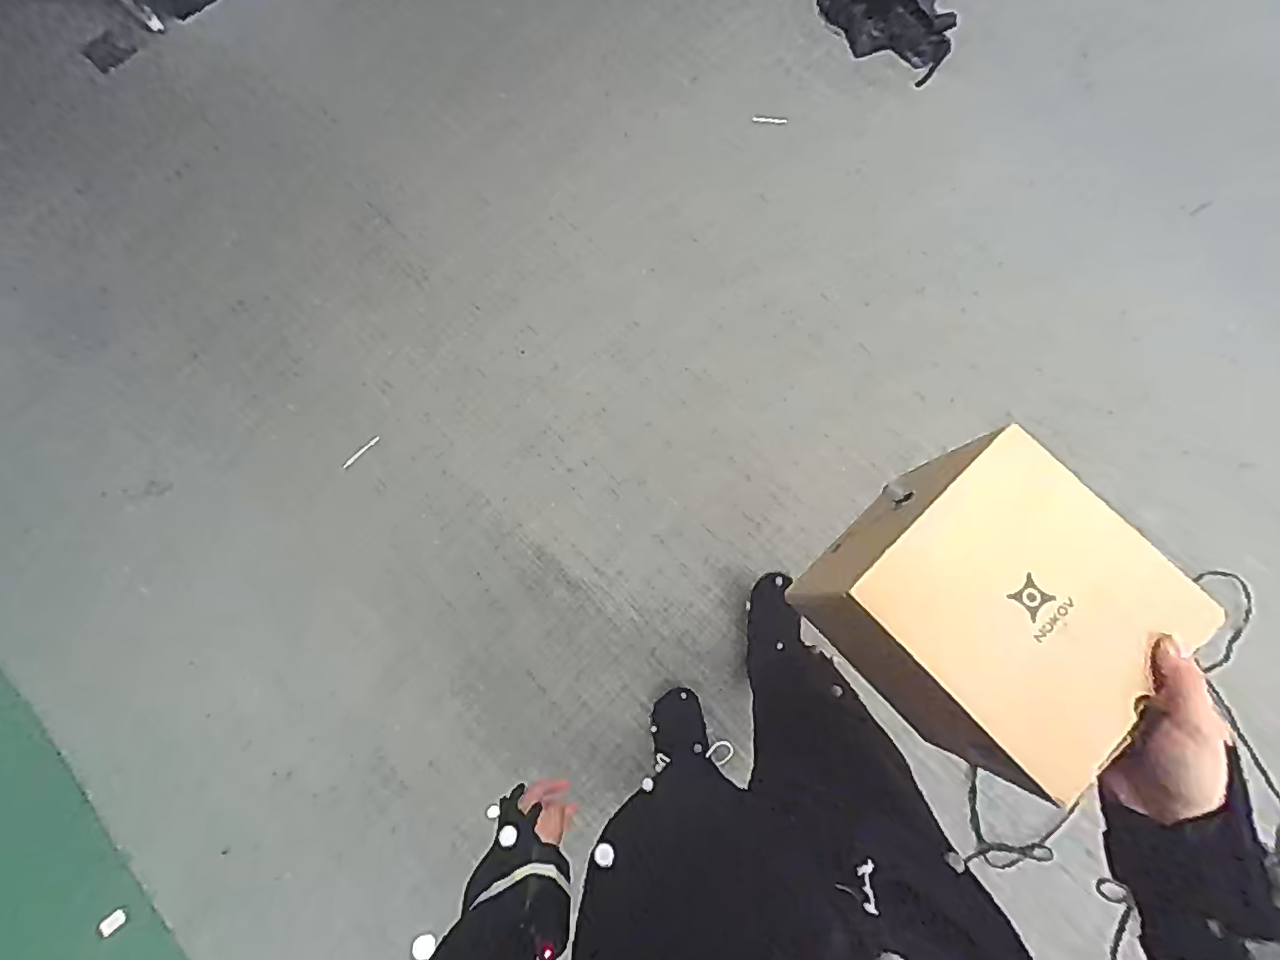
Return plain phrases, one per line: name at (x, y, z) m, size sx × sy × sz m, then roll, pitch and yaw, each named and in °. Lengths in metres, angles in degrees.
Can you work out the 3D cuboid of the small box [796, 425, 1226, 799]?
small box at (0.252, 0.093, 0.418) m, size 0.168 × 0.176 × 0.179 m, roll -43°, pitch 81°, yaw -9°
